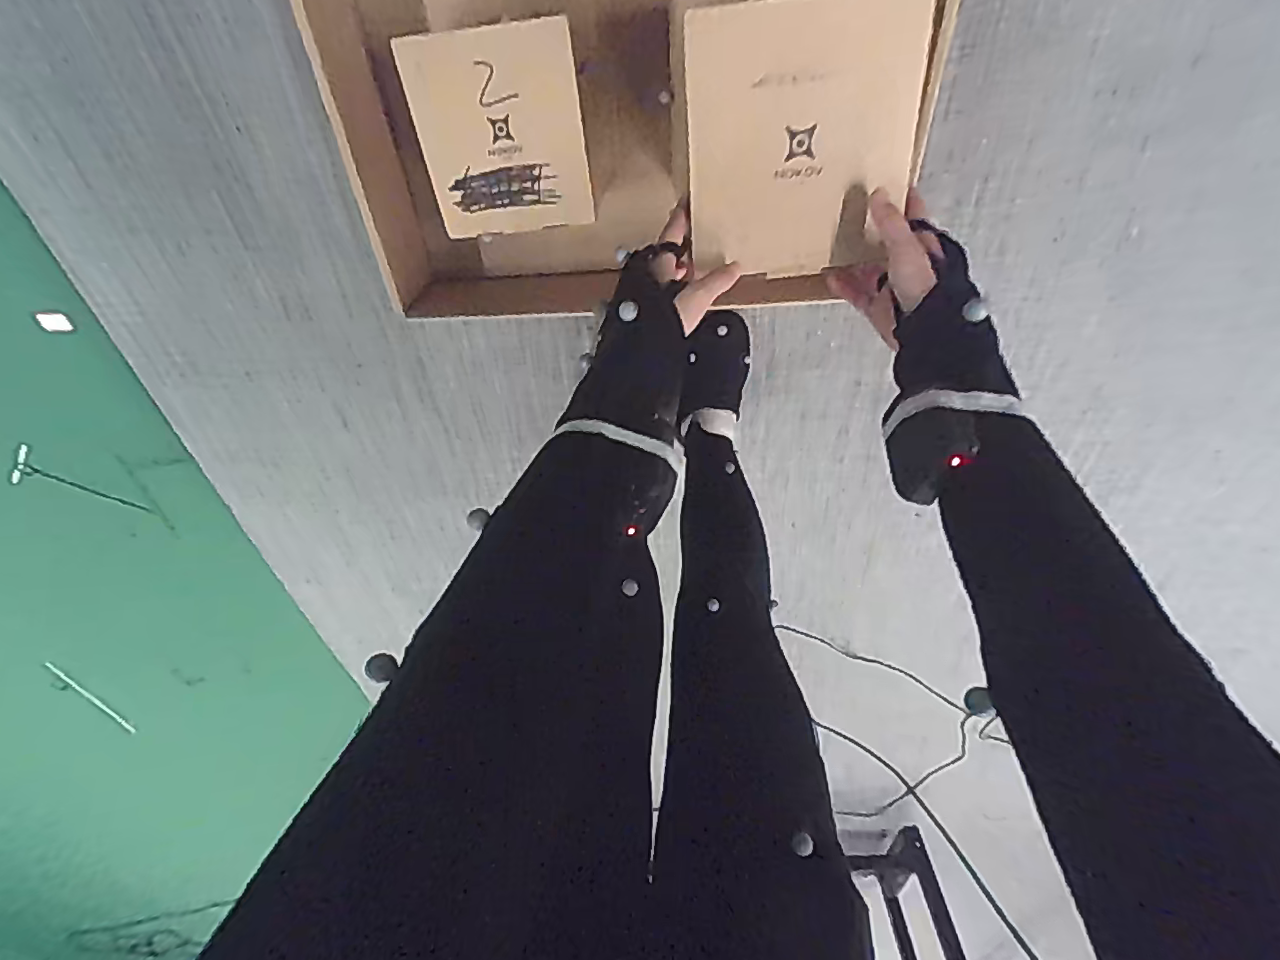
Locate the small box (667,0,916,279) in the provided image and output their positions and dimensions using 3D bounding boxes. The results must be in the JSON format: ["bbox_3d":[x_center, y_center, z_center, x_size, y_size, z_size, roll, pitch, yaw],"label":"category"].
[{"bbox_3d":[0.110,-0.288,0.473,0.168,0.176,0.179,-4,120,3],"label":"small box"}]

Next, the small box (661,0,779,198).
[{"bbox_3d":[0.108,-0.419,0.591,0.168,0.176,0.179,-2,128,3],"label":"small box"}]
